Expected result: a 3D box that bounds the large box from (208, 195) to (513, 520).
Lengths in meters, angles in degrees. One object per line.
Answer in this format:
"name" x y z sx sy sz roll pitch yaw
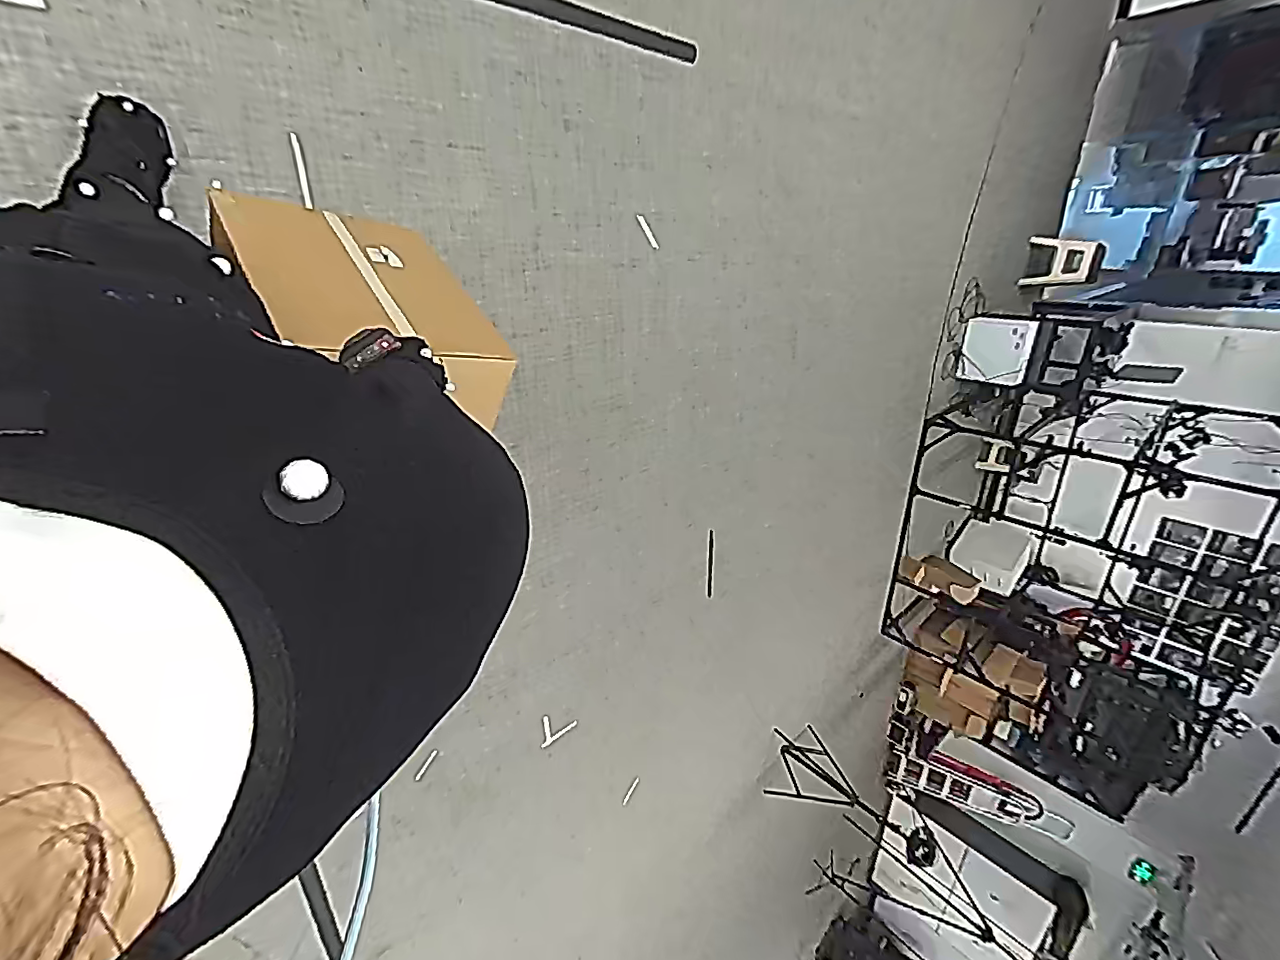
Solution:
"large box" -0.477 -0.198 0.897 0.320 0.408 0.320 -10 140 -46
